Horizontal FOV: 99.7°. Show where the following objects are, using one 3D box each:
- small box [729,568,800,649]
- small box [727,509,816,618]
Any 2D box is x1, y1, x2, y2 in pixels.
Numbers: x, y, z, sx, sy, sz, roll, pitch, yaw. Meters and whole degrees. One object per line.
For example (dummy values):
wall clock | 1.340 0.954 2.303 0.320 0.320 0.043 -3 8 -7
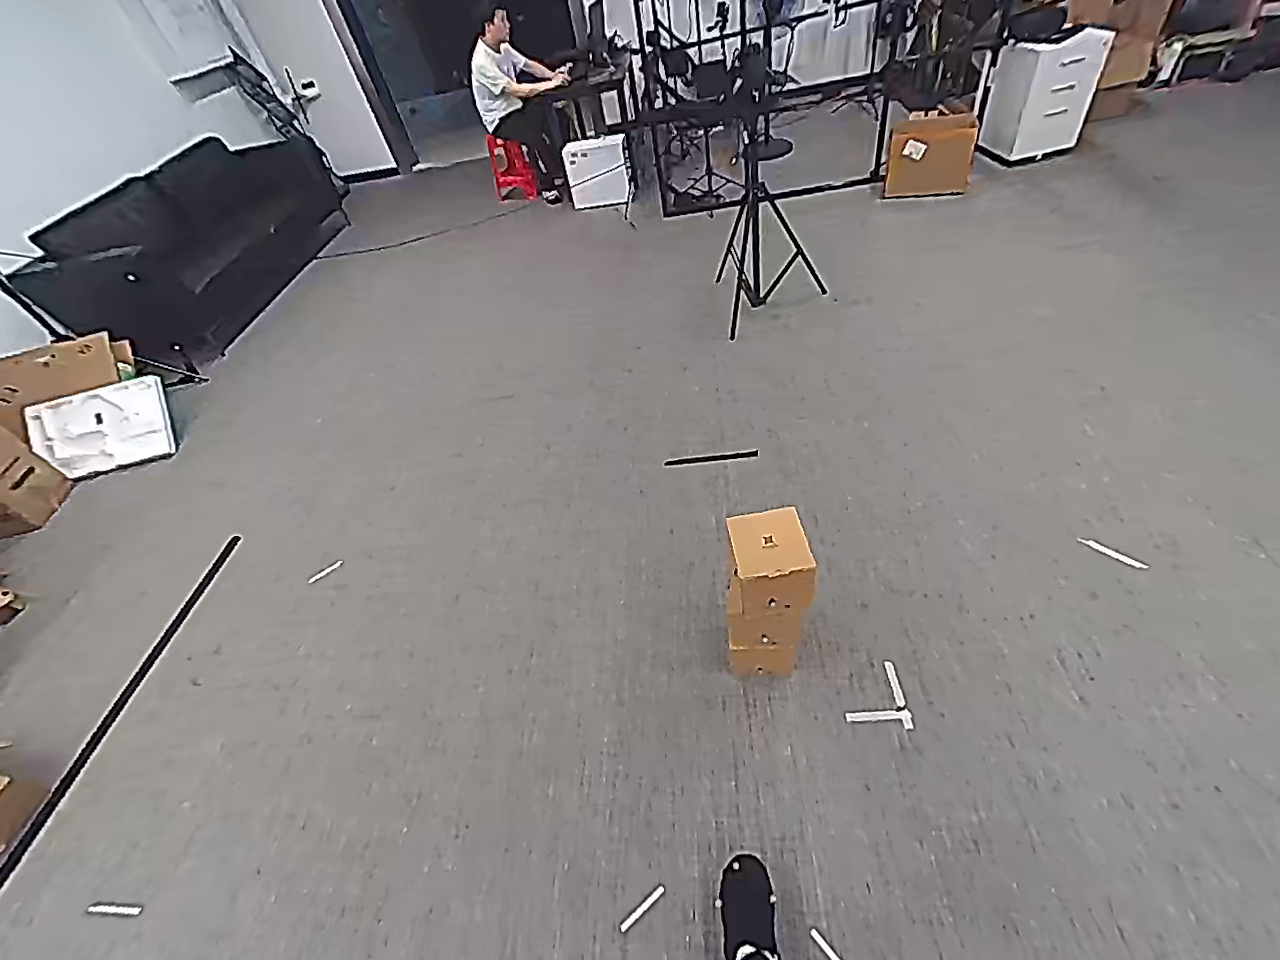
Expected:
small box | 0.315 0.309 1.379 0.168 0.176 0.179 -3 47 12
small box | 0.300 0.196 1.262 0.168 0.176 0.179 -10 46 4
